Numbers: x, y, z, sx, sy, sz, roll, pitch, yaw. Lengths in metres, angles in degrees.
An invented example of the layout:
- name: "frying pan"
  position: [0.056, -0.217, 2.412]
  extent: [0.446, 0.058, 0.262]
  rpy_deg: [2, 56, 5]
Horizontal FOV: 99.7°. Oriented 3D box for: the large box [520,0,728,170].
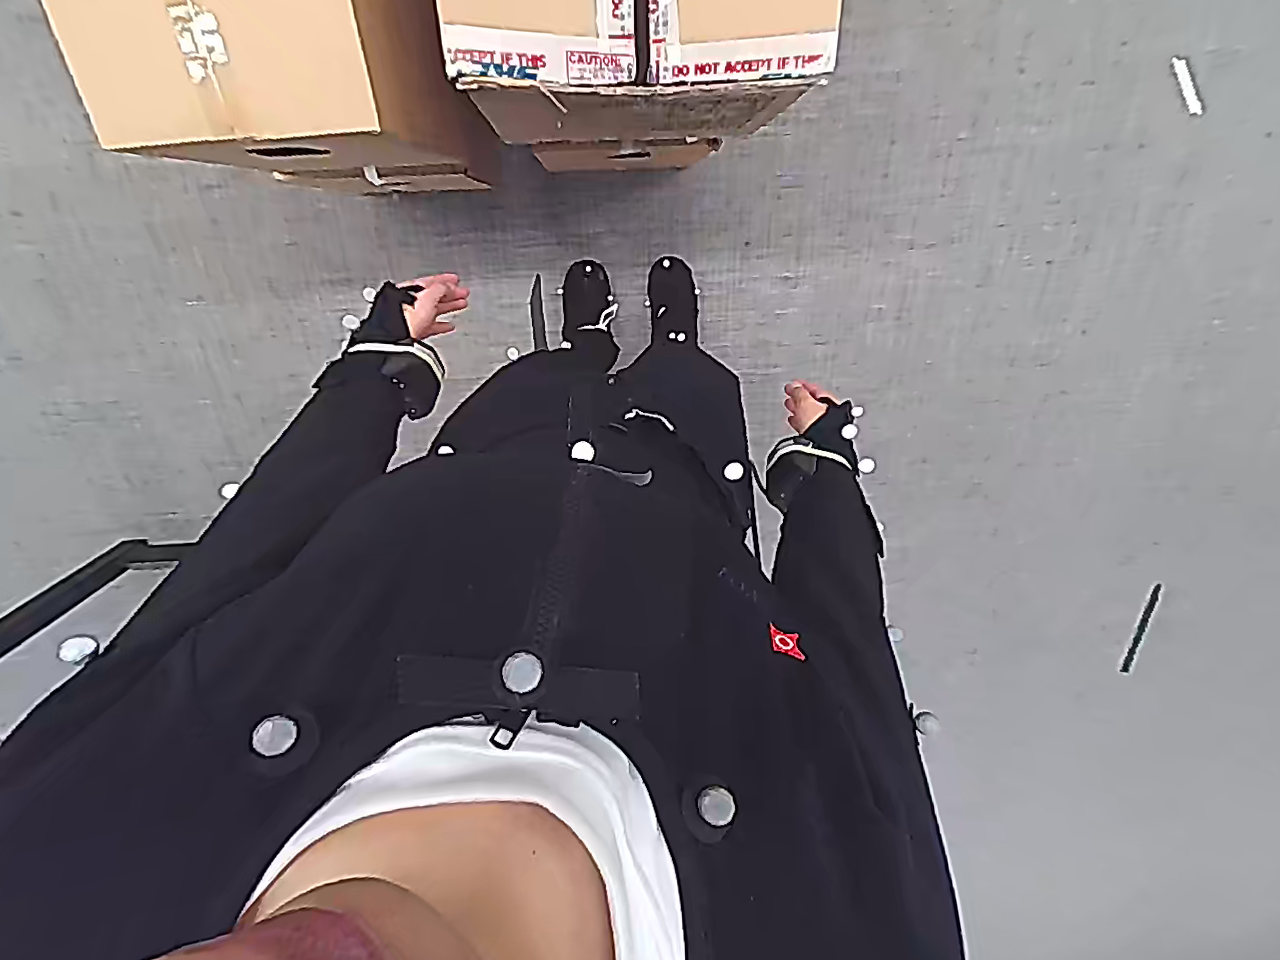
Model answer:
- name: "large box"
  position: [-0.034, -0.783, 0.928]
  extent: [0.320, 0.320, 0.408]
  rpy_deg: [-4, 115, -1]
